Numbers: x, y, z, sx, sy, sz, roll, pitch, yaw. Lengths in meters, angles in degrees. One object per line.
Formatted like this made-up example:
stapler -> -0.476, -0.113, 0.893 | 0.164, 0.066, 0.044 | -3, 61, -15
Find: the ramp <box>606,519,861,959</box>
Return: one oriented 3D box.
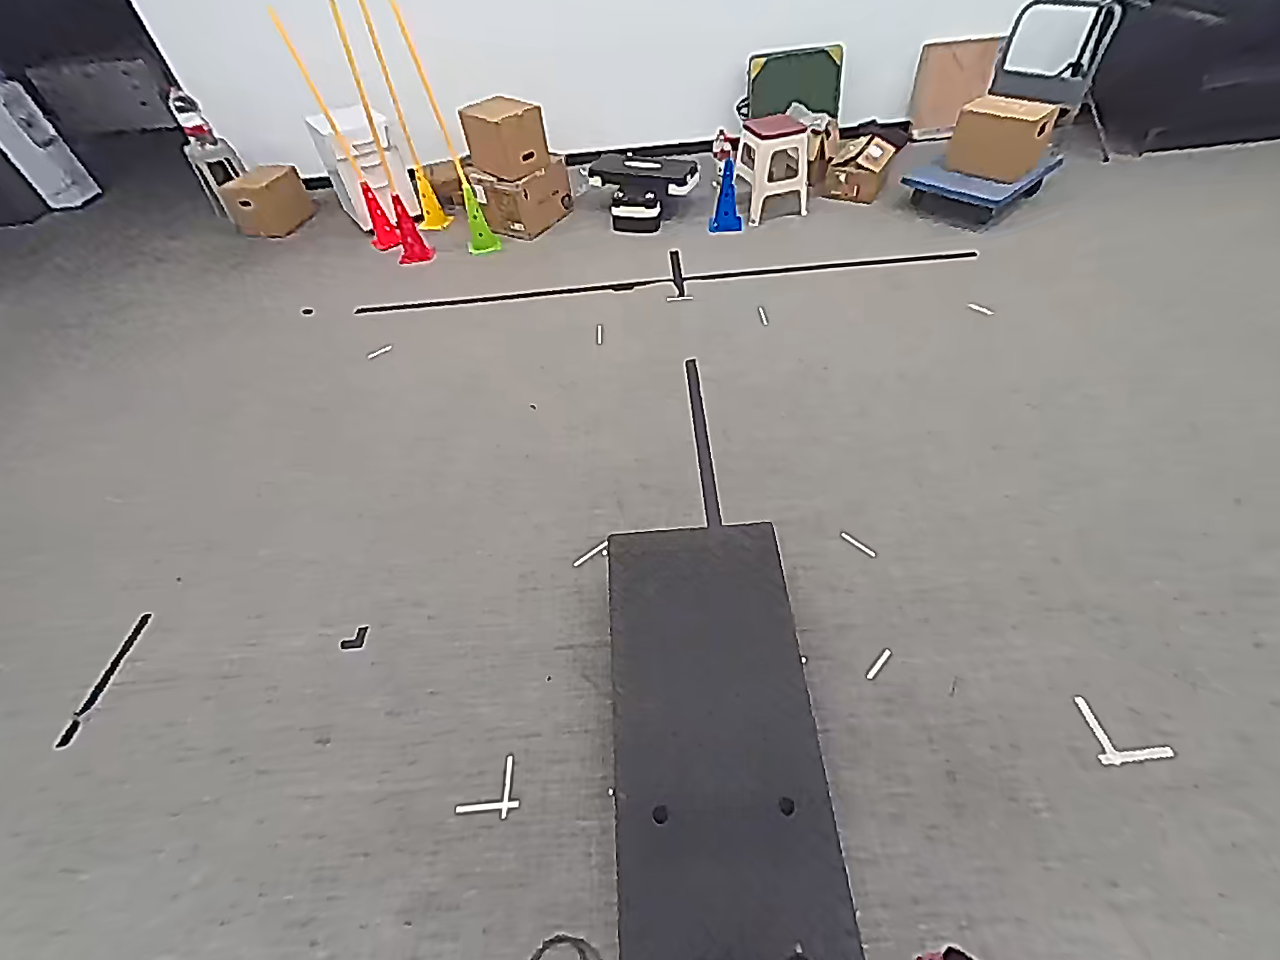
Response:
ramp -> 0.175, 0.560, 1.342 | 0.509, 0.206, 0.991 | -5, 49, -1
